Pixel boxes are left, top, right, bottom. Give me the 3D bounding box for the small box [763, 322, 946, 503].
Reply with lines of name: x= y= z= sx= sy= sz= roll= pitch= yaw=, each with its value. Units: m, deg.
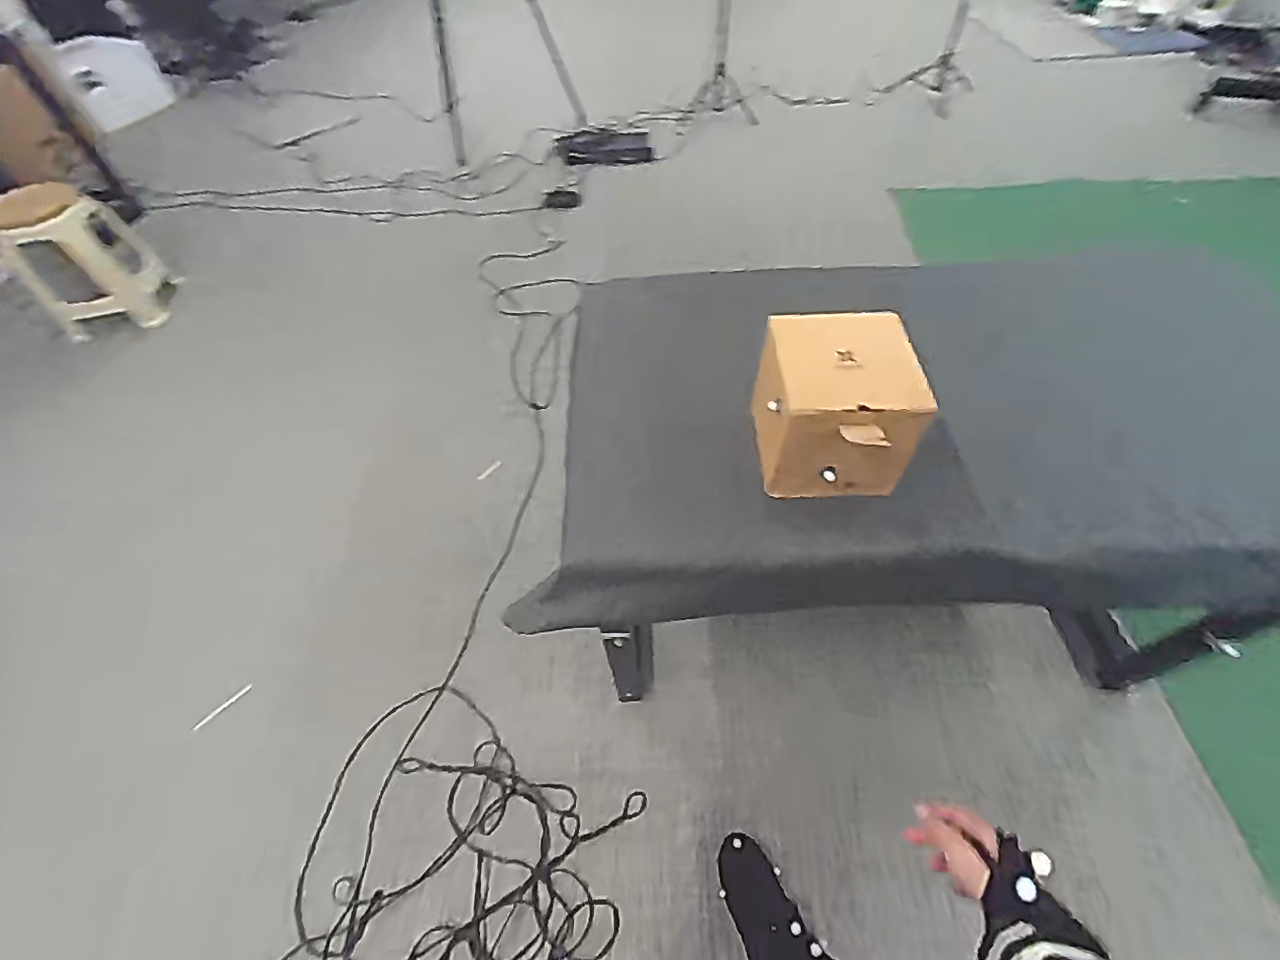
small box: x=0.265 y=-0.089 z=0.722 sx=0.168 sy=0.176 sz=0.179 roll=0 pitch=53 yaw=2
